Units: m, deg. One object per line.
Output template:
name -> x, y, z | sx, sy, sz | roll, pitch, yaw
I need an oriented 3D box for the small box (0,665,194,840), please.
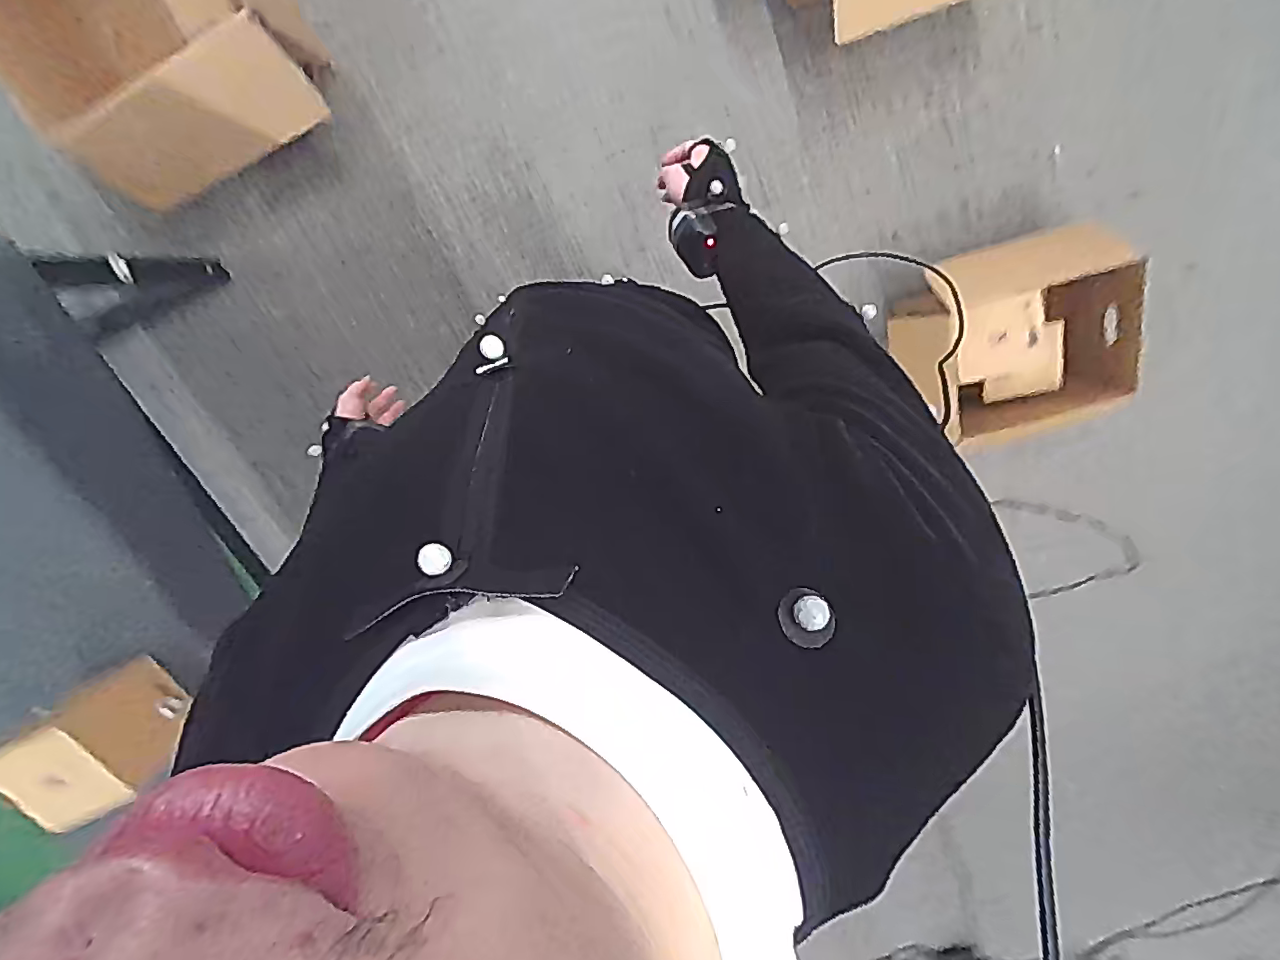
small box -> -0.925, 0.450, 0.911 | 0.179, 0.176, 0.168 | -25, 108, 8
